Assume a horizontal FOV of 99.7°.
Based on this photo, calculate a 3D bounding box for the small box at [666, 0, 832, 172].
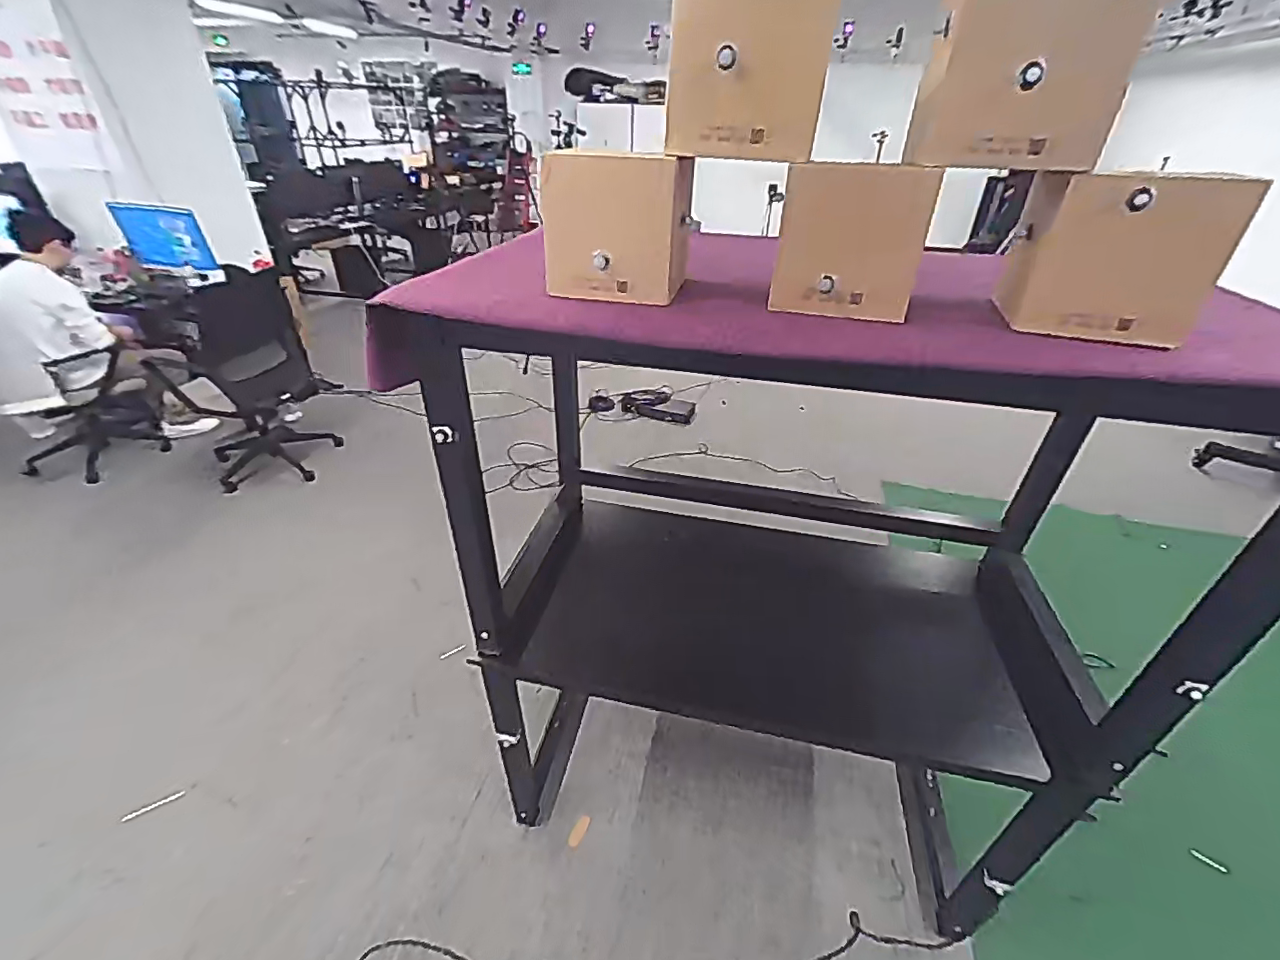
[{"bbox_3d":[0.121,-0.465,0.642,0.168,0.176,0.179,6,31,5],"label":"small box"}]

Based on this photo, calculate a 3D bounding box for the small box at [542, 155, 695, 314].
[{"bbox_3d":[-0.023,-0.338,0.735,0.168,0.176,0.179,8,34,9],"label":"small box"}]

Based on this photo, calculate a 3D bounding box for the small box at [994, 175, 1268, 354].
[{"bbox_3d":[0.549,-0.263,0.644,0.168,0.176,0.179,12,33,18],"label":"small box"}]

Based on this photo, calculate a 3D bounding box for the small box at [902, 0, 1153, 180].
[{"bbox_3d":[0.403,-0.429,0.592,0.168,0.176,0.179,10,33,13],"label":"small box"}]

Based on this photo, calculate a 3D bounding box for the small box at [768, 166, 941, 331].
[{"bbox_3d":[0.264,-0.306,0.702,0.168,0.176,0.179,9,34,13],"label":"small box"}]
